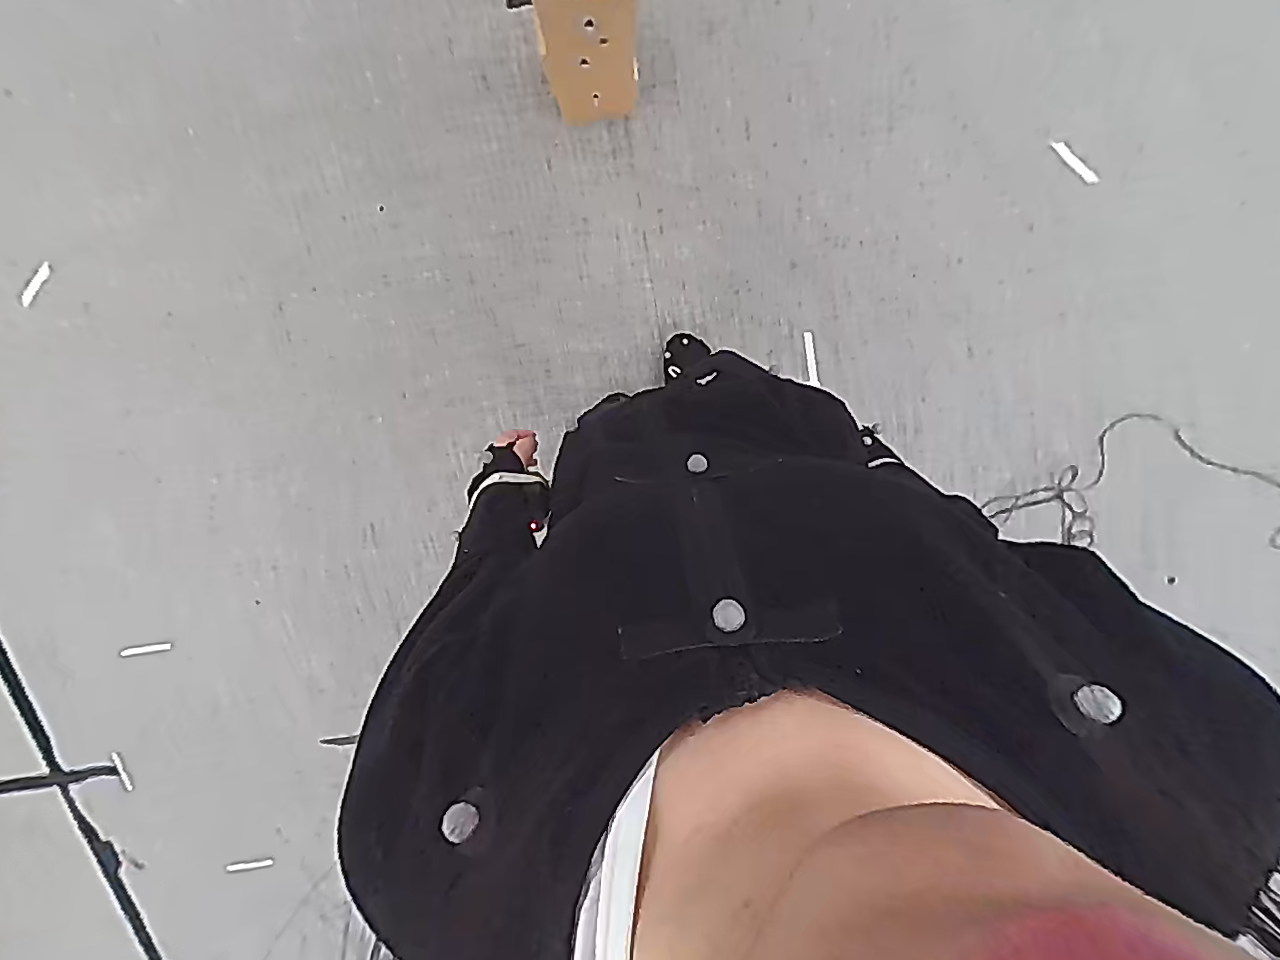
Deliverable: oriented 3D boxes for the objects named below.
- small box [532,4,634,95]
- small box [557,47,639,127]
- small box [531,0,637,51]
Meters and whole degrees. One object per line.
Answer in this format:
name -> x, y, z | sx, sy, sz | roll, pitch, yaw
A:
small box -> -0.106, -0.875, 1.042 | 0.179, 0.176, 0.168 | -7, 104, 1
small box -> -0.103, -0.917, 1.200 | 0.179, 0.176, 0.168 | -9, 104, 1
small box -> -0.095, -0.841, 0.882 | 0.168, 0.176, 0.179 | -7, 104, 1
